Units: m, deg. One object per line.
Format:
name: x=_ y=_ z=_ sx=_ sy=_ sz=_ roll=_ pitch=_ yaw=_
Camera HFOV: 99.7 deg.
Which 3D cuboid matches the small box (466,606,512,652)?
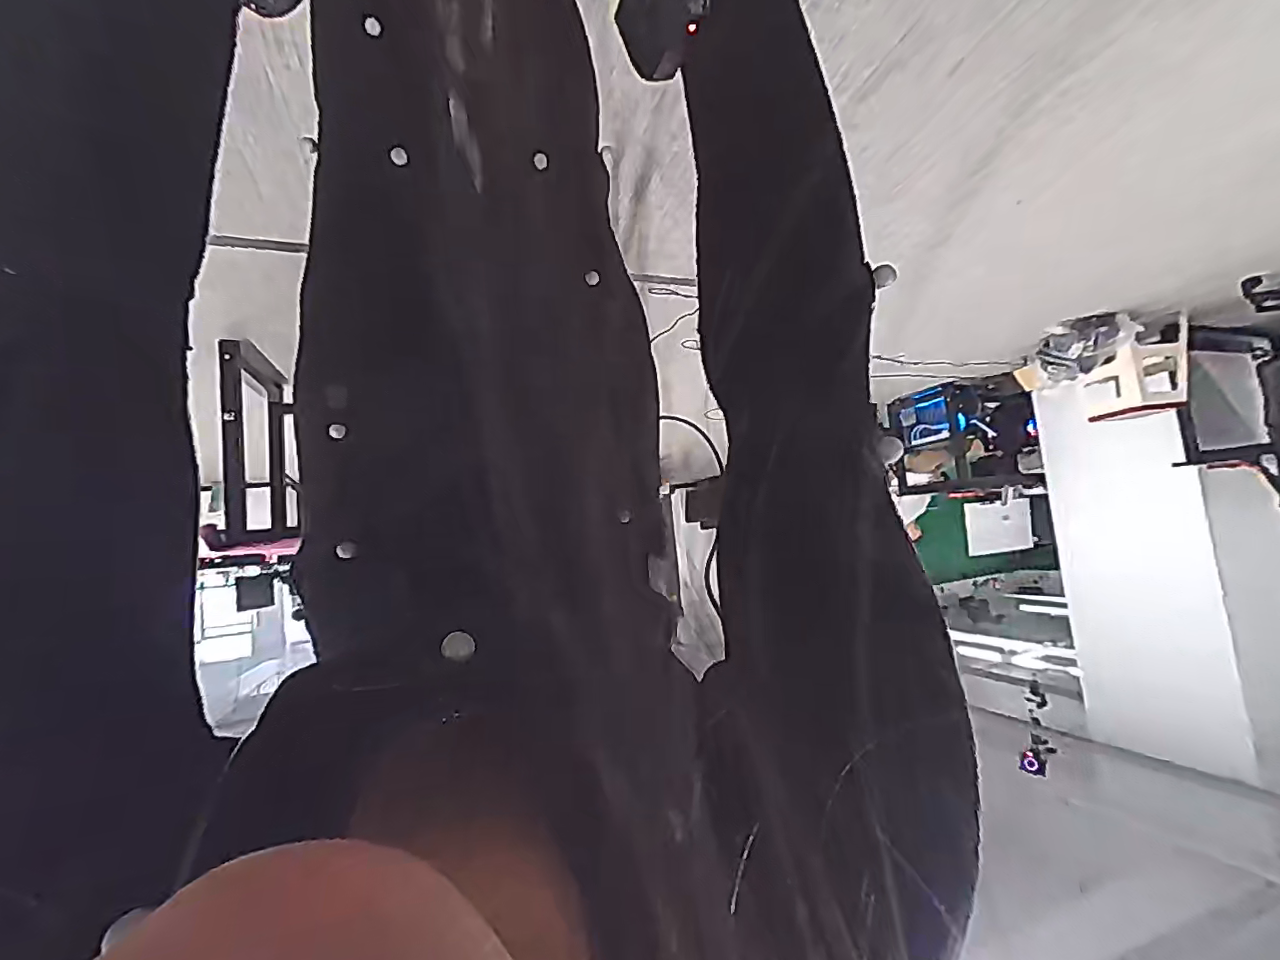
small box: x=-0.640 y=0.617 z=2.286 sx=0.168 sy=0.176 sz=0.179 roll=-4 pitch=174 yaw=-22
